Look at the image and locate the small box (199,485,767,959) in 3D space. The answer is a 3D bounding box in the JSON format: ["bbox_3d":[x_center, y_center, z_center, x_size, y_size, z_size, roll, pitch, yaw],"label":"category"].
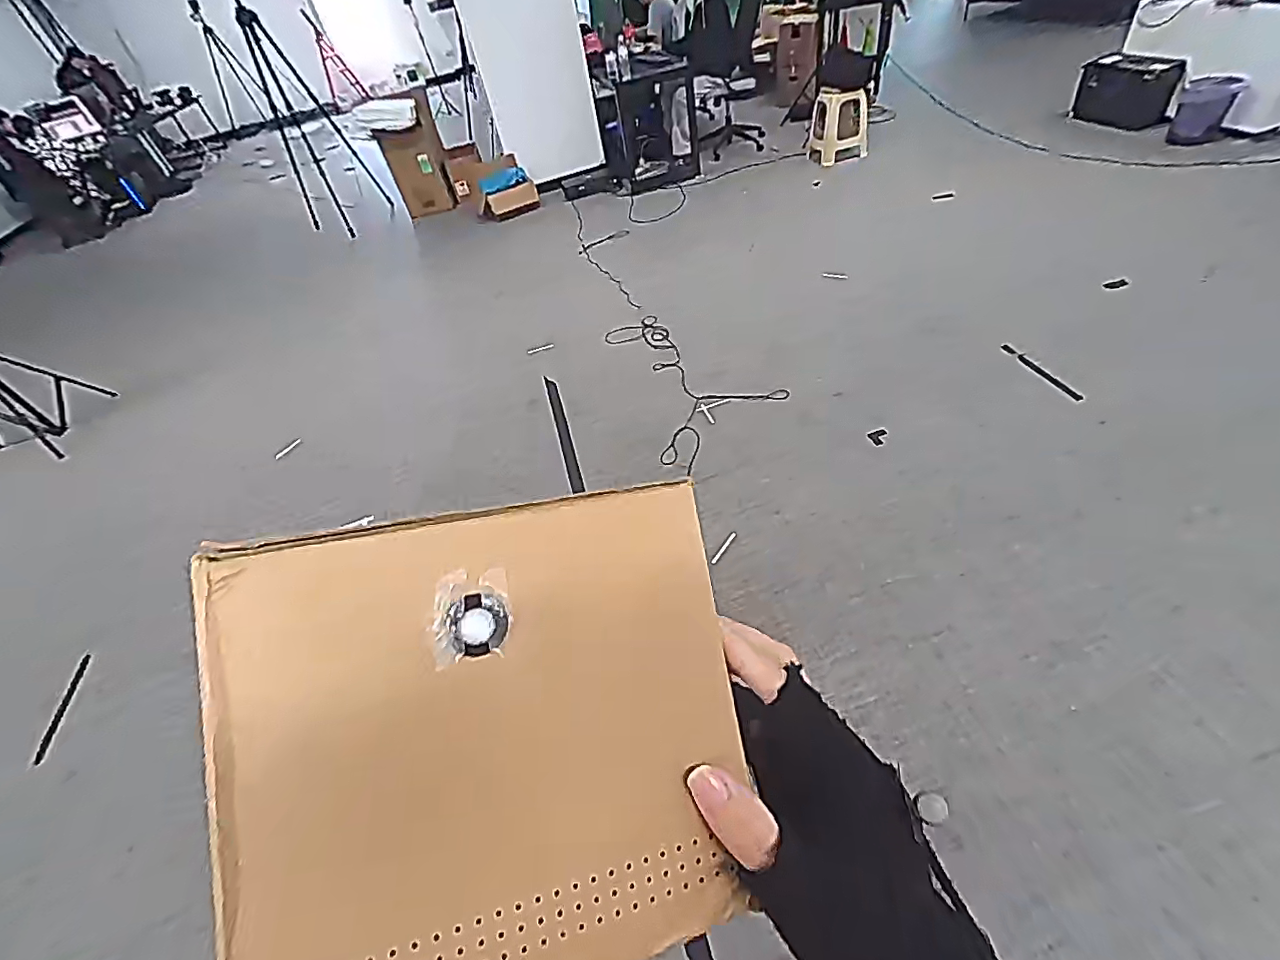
[{"bbox_3d":[-0.065,0.111,0.264,0.179,0.168,0.176,-10,84,-18],"label":"small box"}]
